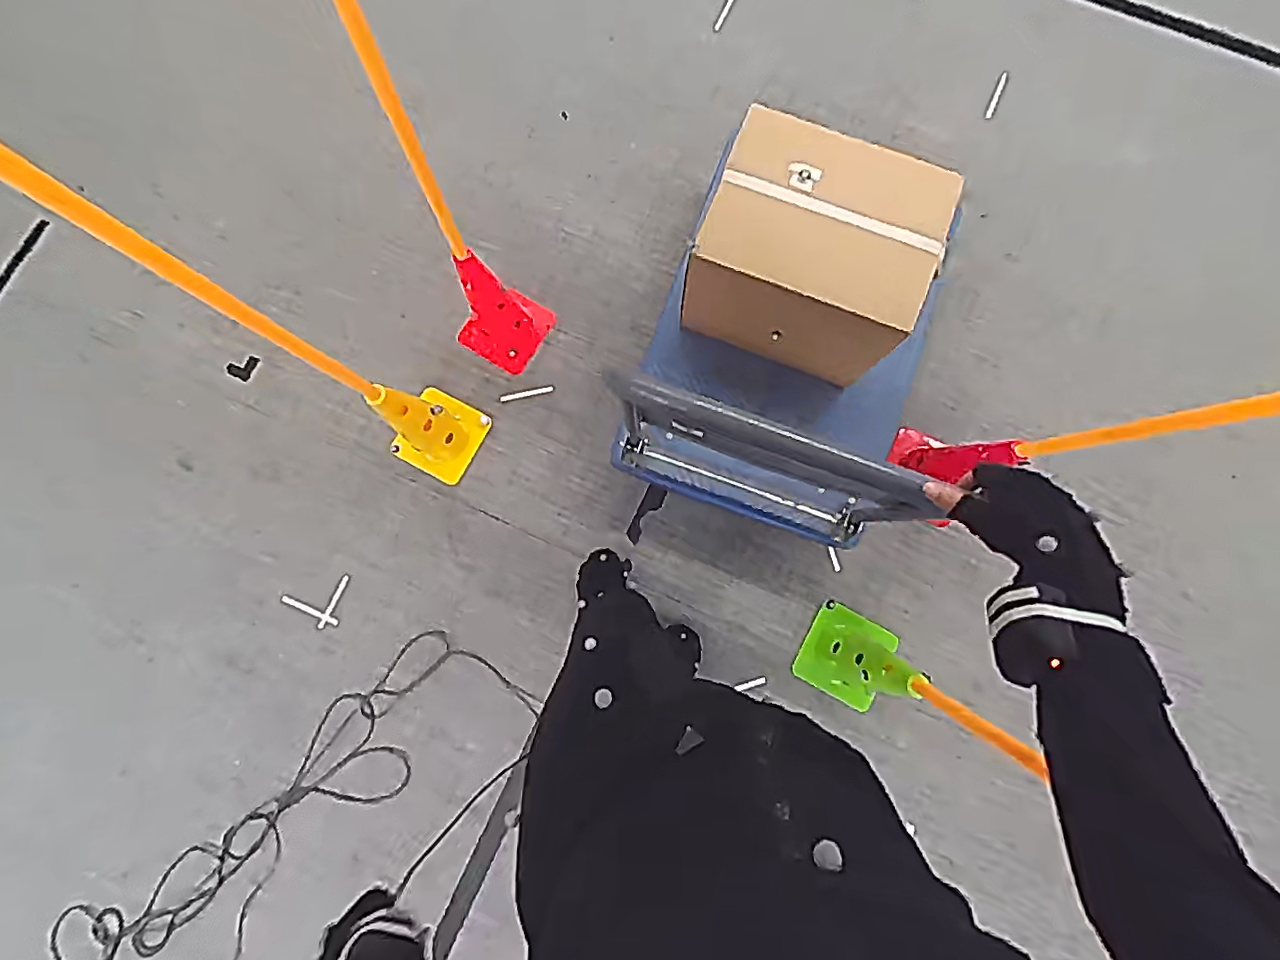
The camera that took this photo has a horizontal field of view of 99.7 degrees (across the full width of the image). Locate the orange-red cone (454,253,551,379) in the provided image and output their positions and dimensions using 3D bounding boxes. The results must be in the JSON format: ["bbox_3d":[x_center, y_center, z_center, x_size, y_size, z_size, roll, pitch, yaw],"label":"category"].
[{"bbox_3d":[-0.359,-0.415,1.263,0.198,0.360,0.199,31,82,5],"label":"orange-red cone"}]

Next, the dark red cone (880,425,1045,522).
[{"bbox_3d":[0.708,-0.042,1.166,0.201,0.394,0.202,24,83,3],"label":"dark red cone"}]

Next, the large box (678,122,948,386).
[{"bbox_3d":[0.318,-0.431,1.106,0.408,0.320,0.320,21,83,5],"label":"large box"}]

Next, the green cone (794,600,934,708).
[{"bbox_3d":[0.491,0.390,1.121,0.202,0.368,0.200,28,83,4],"label":"green cone"}]
